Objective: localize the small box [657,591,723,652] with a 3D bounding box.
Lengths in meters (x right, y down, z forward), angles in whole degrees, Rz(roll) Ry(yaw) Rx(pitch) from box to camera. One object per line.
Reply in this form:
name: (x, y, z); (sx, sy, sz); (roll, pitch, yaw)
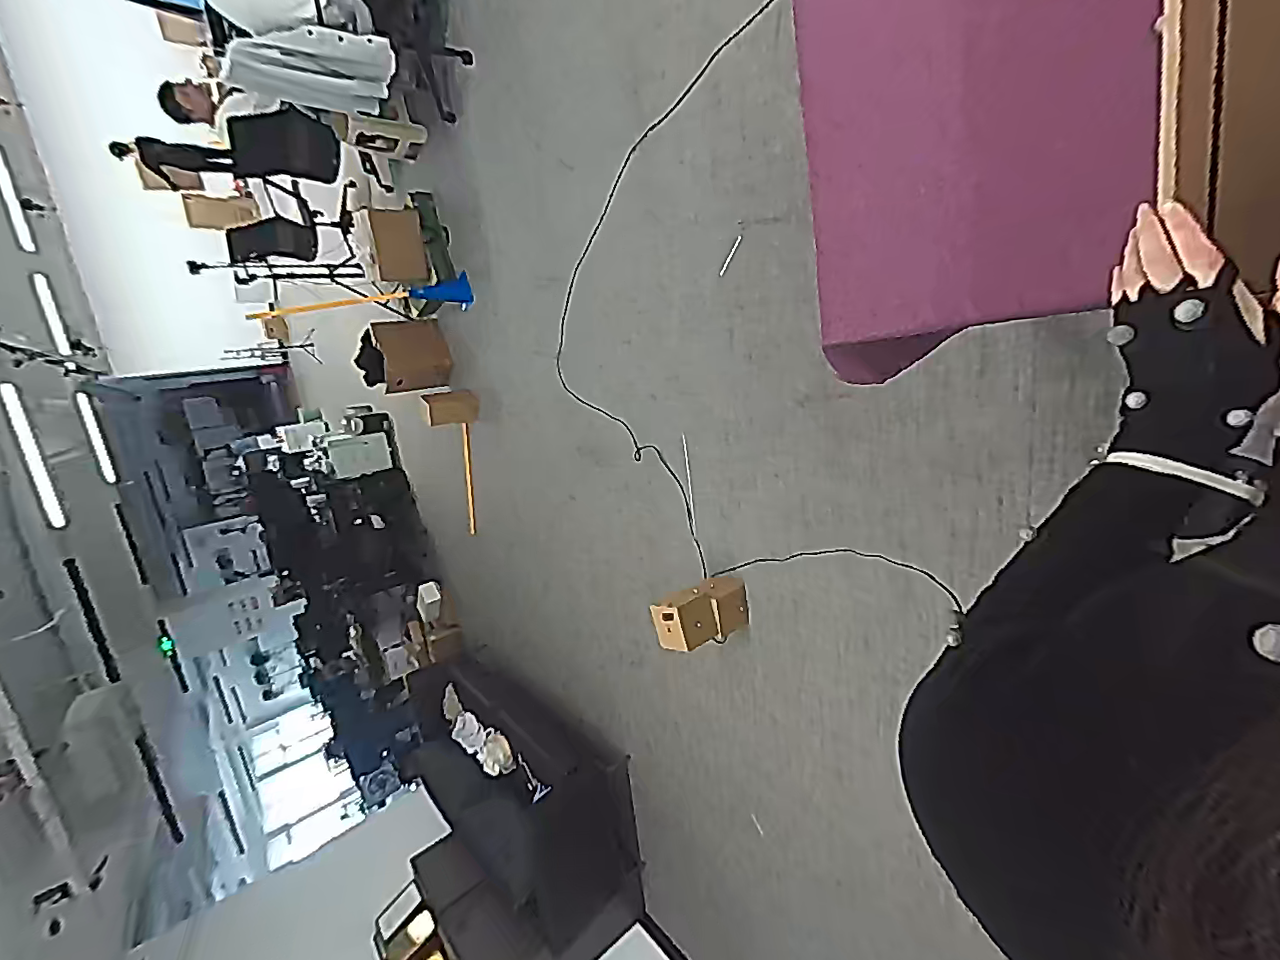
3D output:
small box: (0.195, 0.539, 2.092); (0.168, 0.176, 0.179); (-11, 95, 54)
